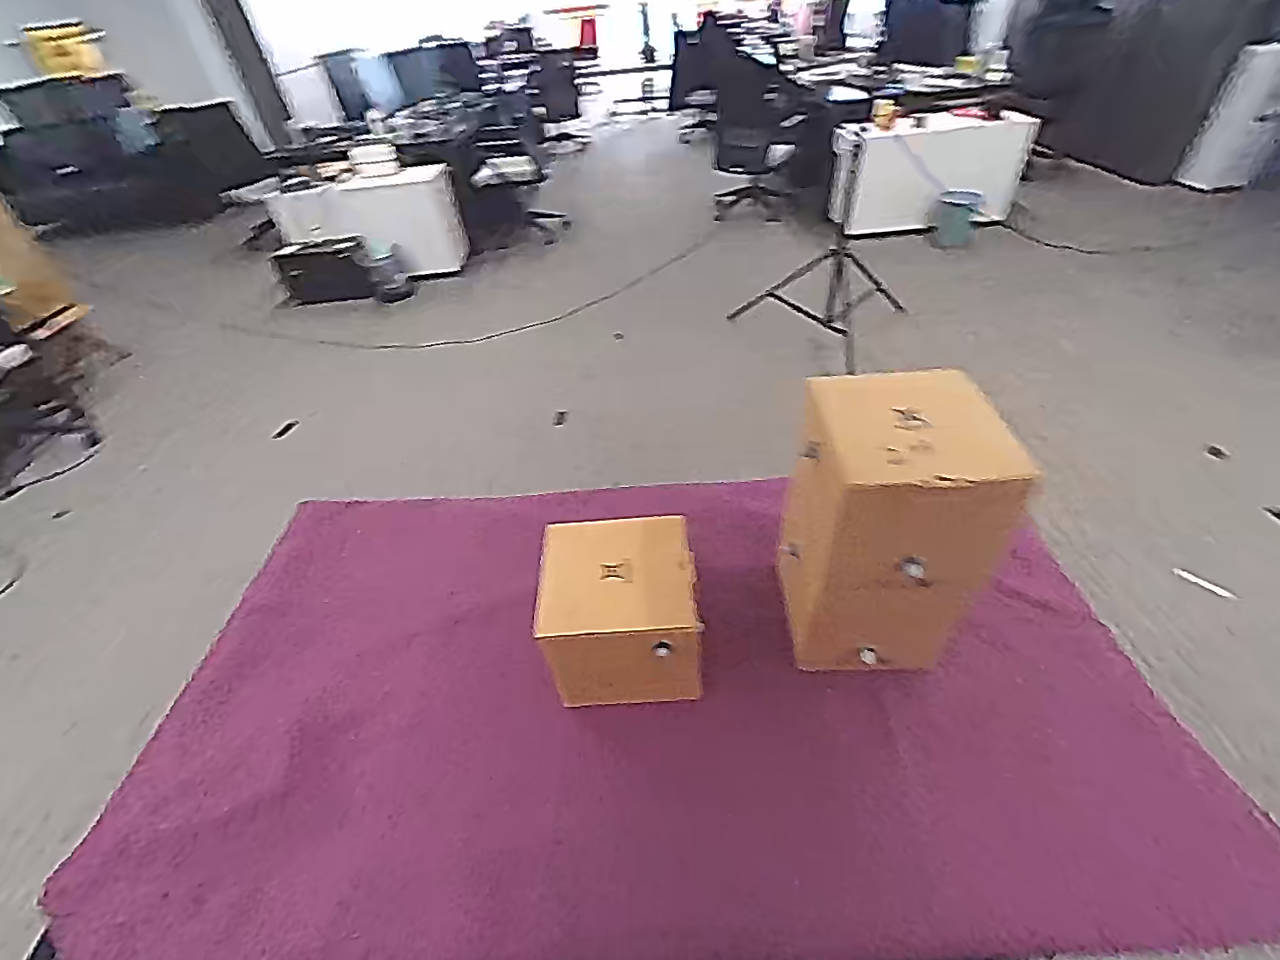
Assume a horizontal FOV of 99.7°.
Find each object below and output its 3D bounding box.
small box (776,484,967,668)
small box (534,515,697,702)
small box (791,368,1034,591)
[{"bbox_3d":[0.276,0.120,0.695,0.168,0.176,0.179,-3,43,4],"label":"small box"},{"bbox_3d":[-0.024,0.165,0.685,0.179,0.176,0.168,-5,42,1],"label":"small box"},{"bbox_3d":[0.265,-0.001,0.583,0.168,0.176,0.179,-3,43,4],"label":"small box"}]
